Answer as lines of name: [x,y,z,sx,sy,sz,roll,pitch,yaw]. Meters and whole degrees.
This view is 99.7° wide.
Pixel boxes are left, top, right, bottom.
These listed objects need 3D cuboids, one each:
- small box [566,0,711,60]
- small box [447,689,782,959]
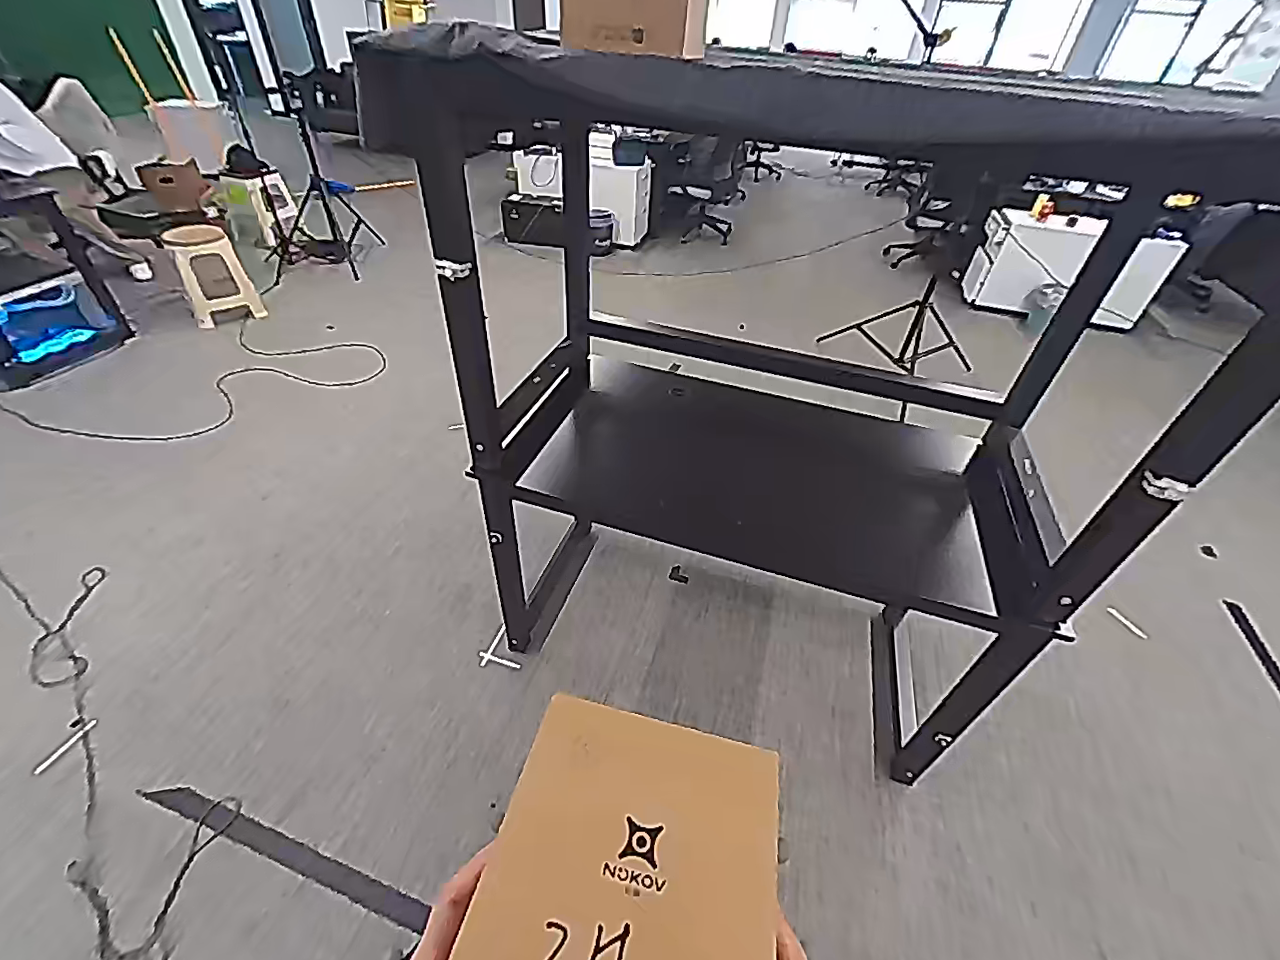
small box: [0.005,-0.657,0.700,0.168,0.176,0.179,12,40,8]
small box: [-0.009,0.279,0.359,0.168,0.176,0.179,12,37,7]
